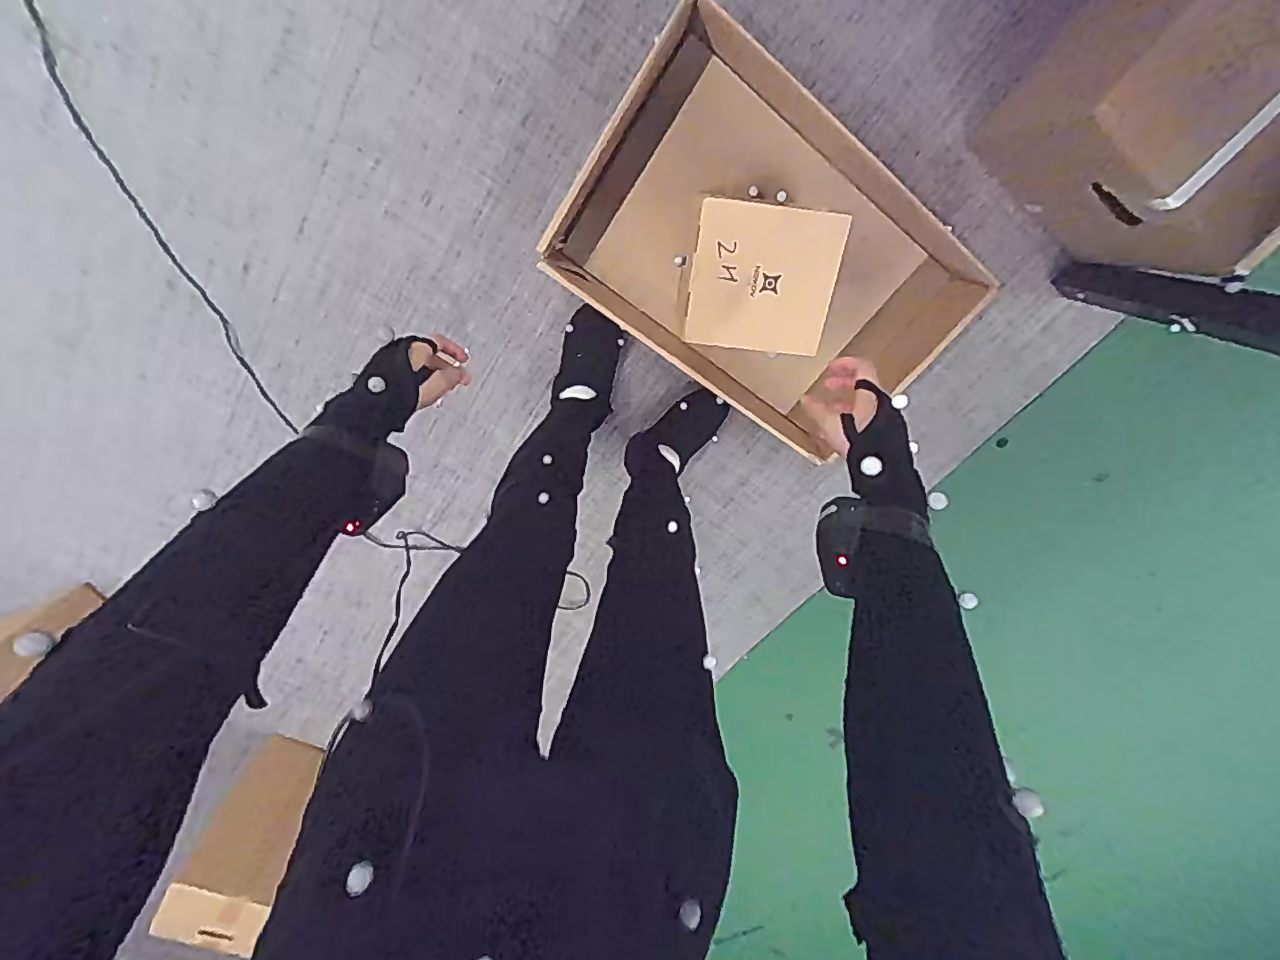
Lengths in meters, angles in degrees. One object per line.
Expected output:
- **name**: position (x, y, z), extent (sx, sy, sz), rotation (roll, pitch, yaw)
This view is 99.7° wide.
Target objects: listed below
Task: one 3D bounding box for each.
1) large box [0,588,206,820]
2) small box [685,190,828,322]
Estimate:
- **large box**: position (-1.428, 0.547, 1.333), extent (0.320, 0.320, 0.408), rotation (-22, 115, 12)
- **small box**: position (0.169, -0.357, 0.855), extent (0.179, 0.176, 0.168), rotation (5, 118, -2)
